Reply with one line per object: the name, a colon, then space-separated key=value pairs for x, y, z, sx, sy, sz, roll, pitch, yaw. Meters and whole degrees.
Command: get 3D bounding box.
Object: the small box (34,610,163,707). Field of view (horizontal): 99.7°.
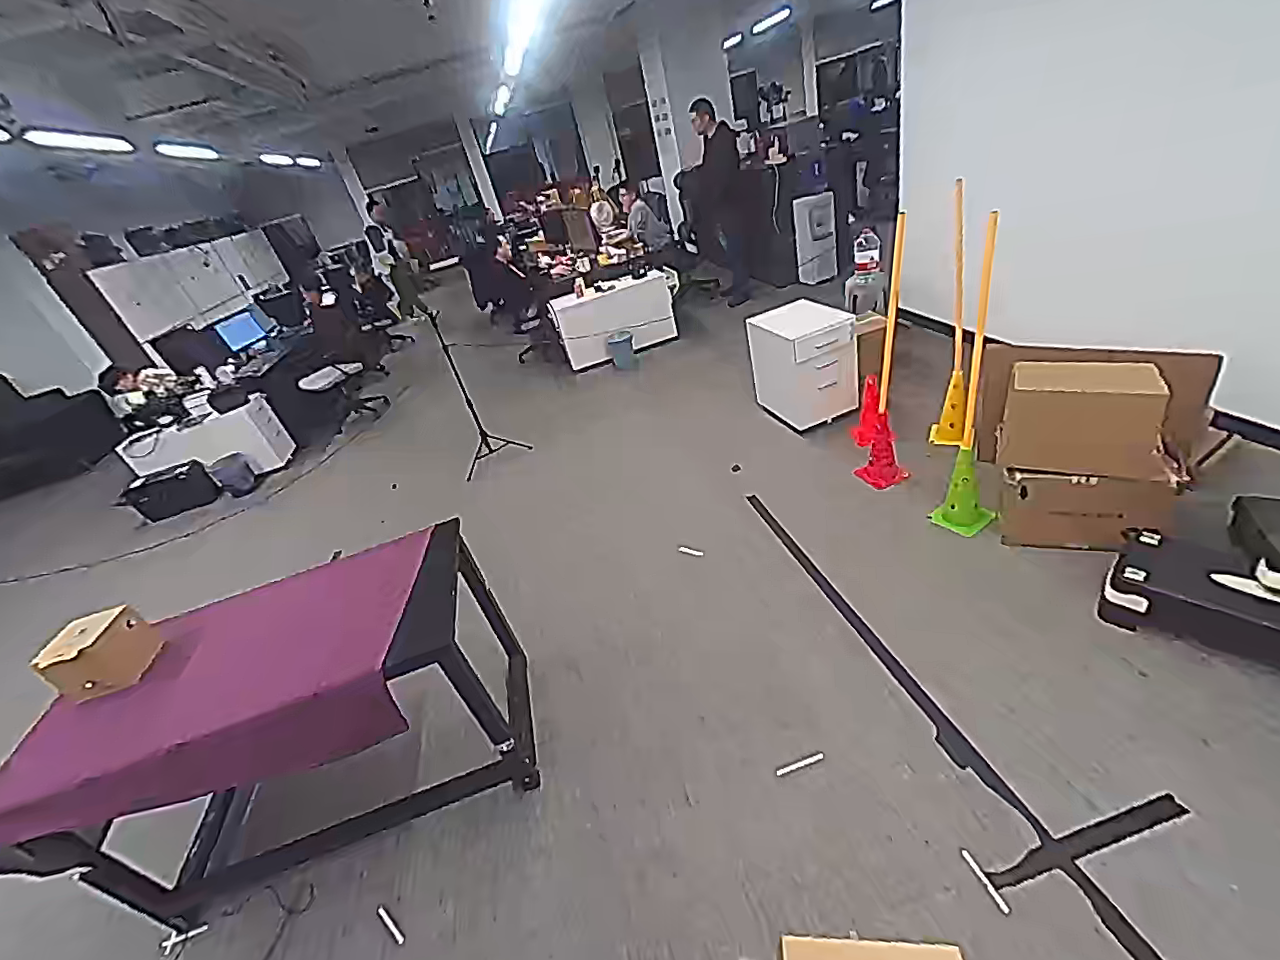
small box: x=-1.543 y=0.514 z=1.561 sx=0.168 sy=0.176 sz=0.179 roll=-19 pitch=32 yaw=-3
